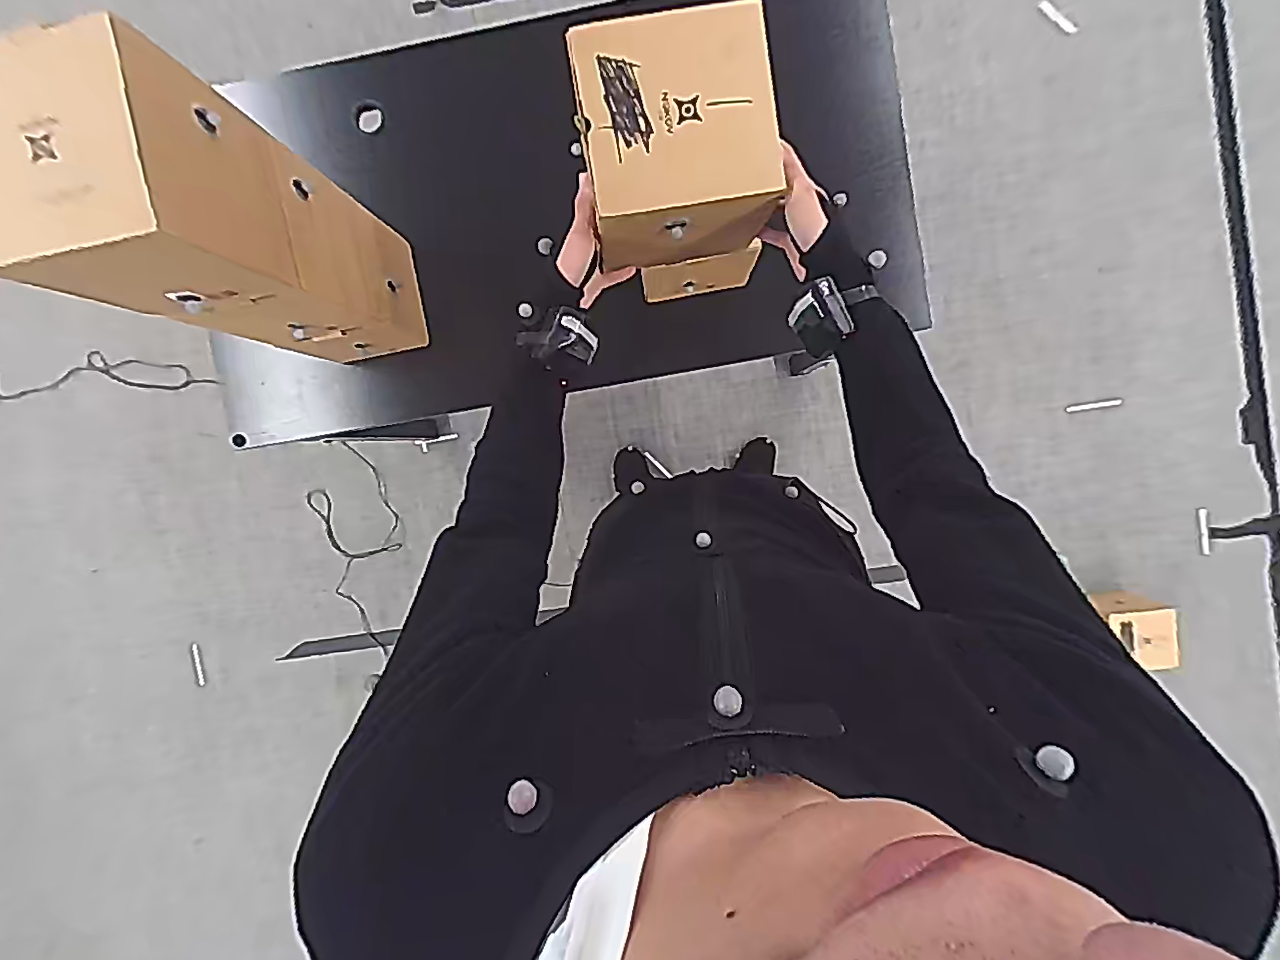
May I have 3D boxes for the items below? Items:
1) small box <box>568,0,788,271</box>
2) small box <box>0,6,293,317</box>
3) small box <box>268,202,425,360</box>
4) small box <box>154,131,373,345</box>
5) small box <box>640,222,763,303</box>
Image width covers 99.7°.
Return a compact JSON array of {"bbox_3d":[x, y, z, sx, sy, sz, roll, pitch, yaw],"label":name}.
[{"bbox_3d":[0.033,-0.329,0.552,0.179,0.176,0.168,-9,95,-2],"label":"small box"},{"bbox_3d":[-0.466,-0.270,0.501,0.168,0.176,0.179,-11,93,4],"label":"small box"},{"bbox_3d":[-0.454,-0.288,0.828,0.168,0.176,0.179,-11,93,3],"label":"small box"},{"bbox_3d":[-0.461,-0.280,0.664,0.168,0.176,0.179,-10,93,4],"label":"small box"},{"bbox_3d":[0.074,-0.382,0.801,0.168,0.176,0.179,-10,93,3],"label":"small box"}]
